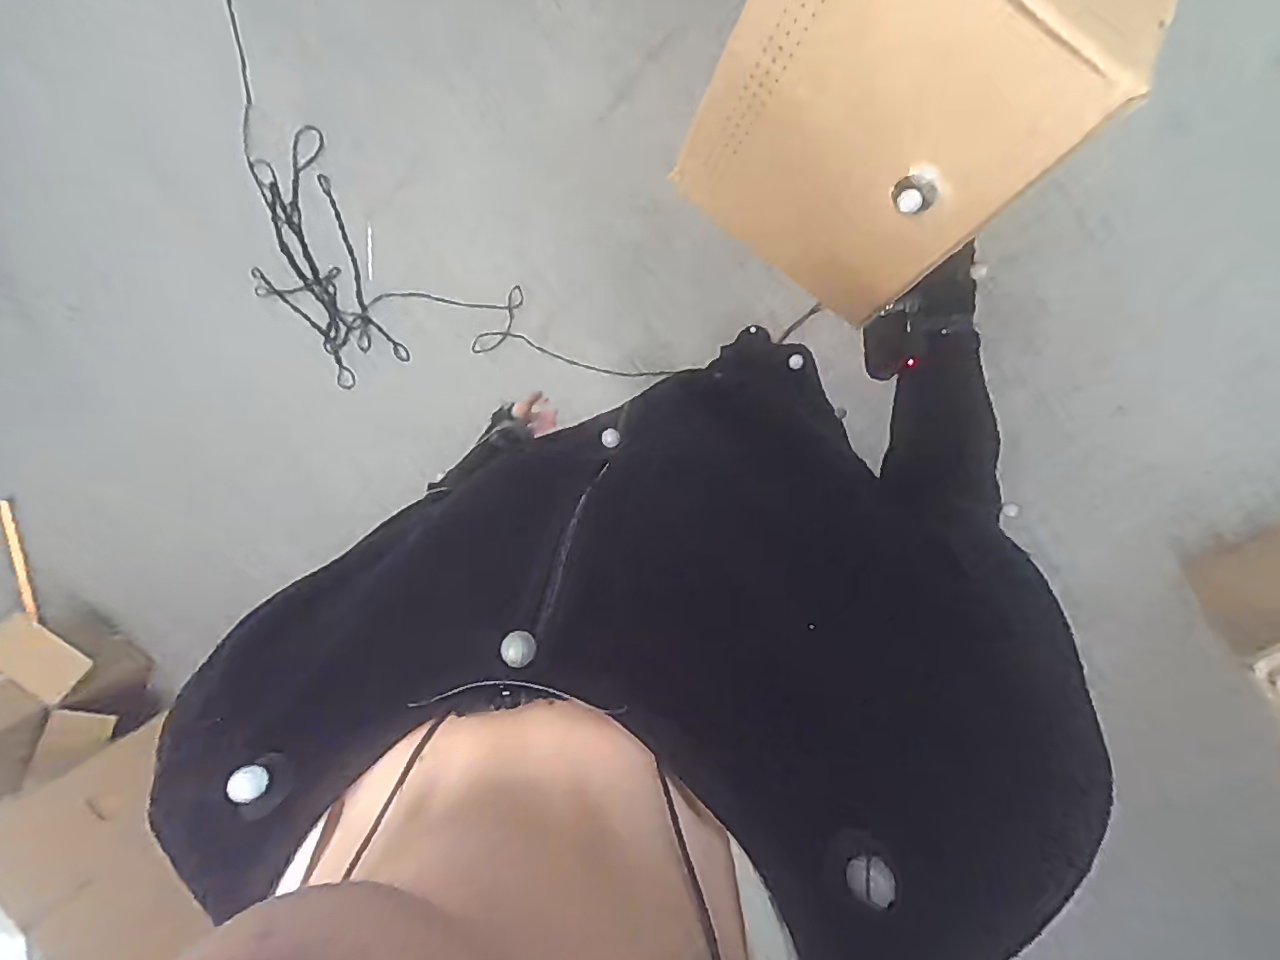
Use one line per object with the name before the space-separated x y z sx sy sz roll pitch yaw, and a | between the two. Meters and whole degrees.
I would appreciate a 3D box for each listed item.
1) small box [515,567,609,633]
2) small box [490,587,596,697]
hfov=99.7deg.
small box | -0.214 0.367 1.528 0.168 0.176 0.179 -38 93 15
small box | -0.236 0.403 1.370 0.179 0.176 0.168 -36 94 15
